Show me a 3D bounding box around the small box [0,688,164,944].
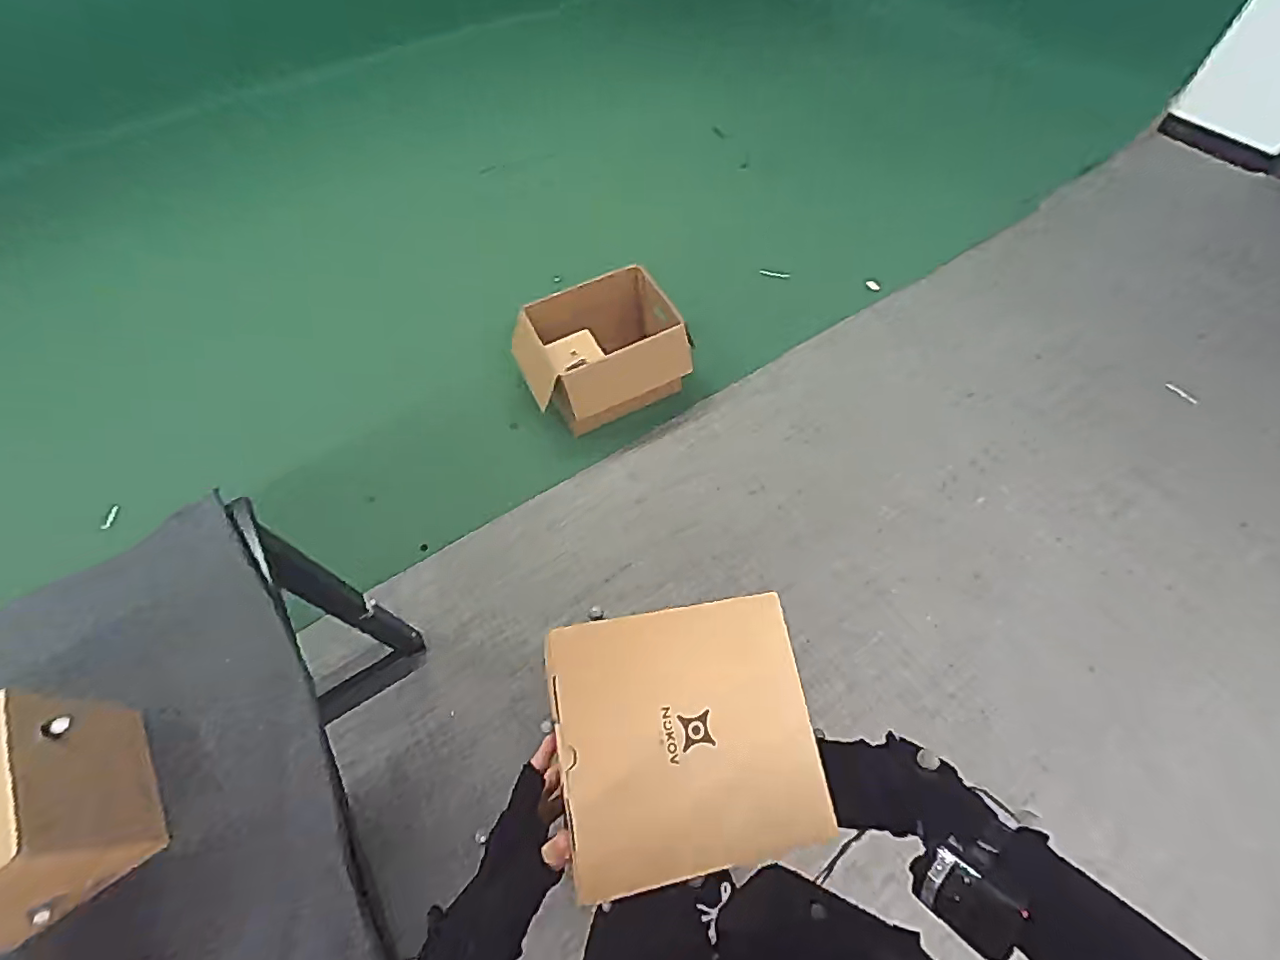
[{"bbox_3d":[-0.645,0.348,0.551,0.168,0.176,0.179,-33,63,-15],"label":"small box"}]

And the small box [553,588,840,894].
[{"bbox_3d":[0.025,0.191,0.439,0.179,0.176,0.168,-7,71,-11],"label":"small box"}]
